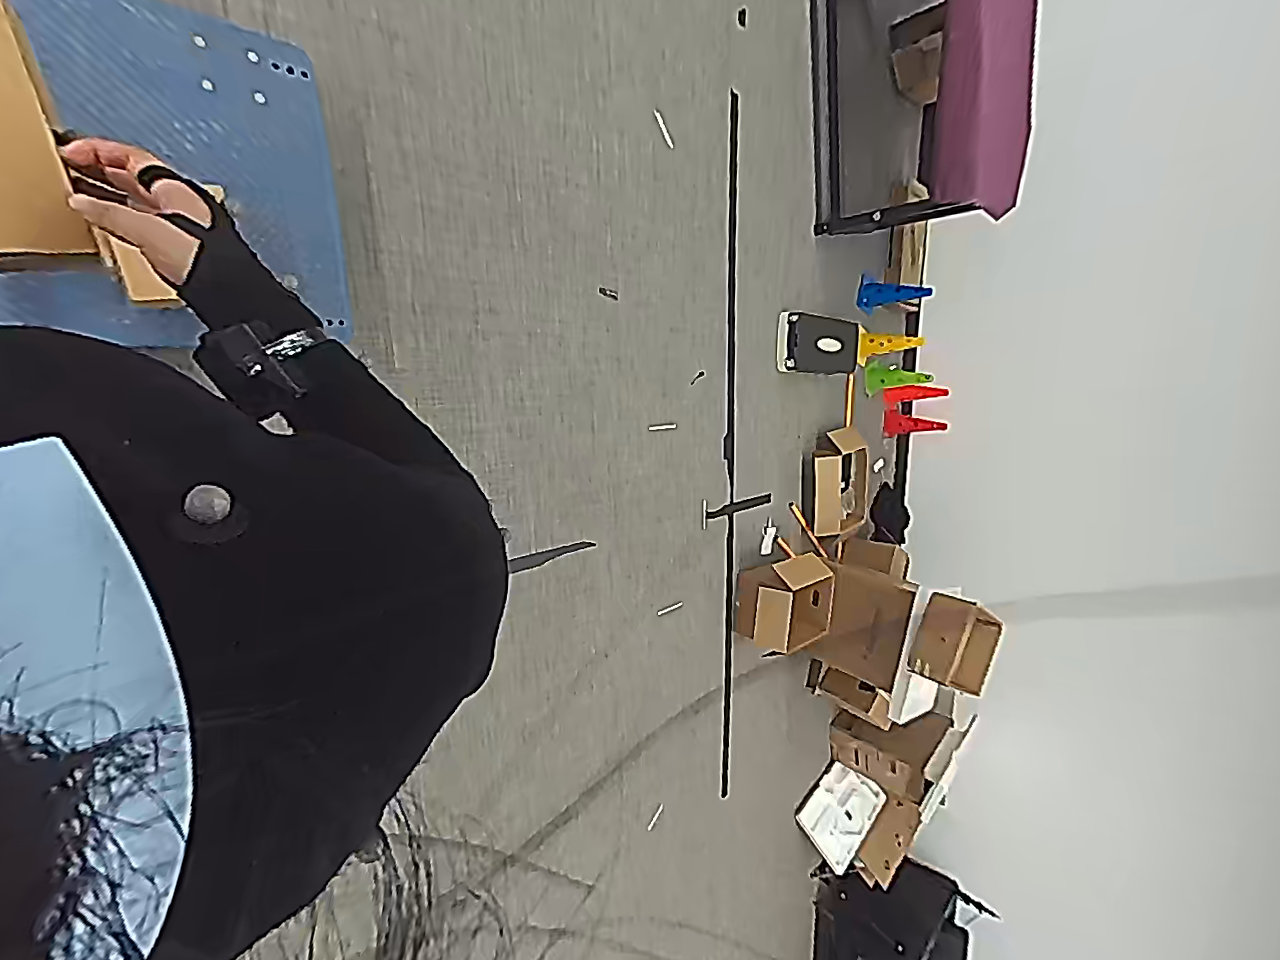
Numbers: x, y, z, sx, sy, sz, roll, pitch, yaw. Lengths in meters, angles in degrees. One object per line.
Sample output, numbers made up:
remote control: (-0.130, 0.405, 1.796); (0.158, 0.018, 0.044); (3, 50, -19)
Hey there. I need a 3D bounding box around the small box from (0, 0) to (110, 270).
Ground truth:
small box: (-0.501, -0.239, 0.365); (0.168, 0.176, 0.179); (-20, 117, -38)
